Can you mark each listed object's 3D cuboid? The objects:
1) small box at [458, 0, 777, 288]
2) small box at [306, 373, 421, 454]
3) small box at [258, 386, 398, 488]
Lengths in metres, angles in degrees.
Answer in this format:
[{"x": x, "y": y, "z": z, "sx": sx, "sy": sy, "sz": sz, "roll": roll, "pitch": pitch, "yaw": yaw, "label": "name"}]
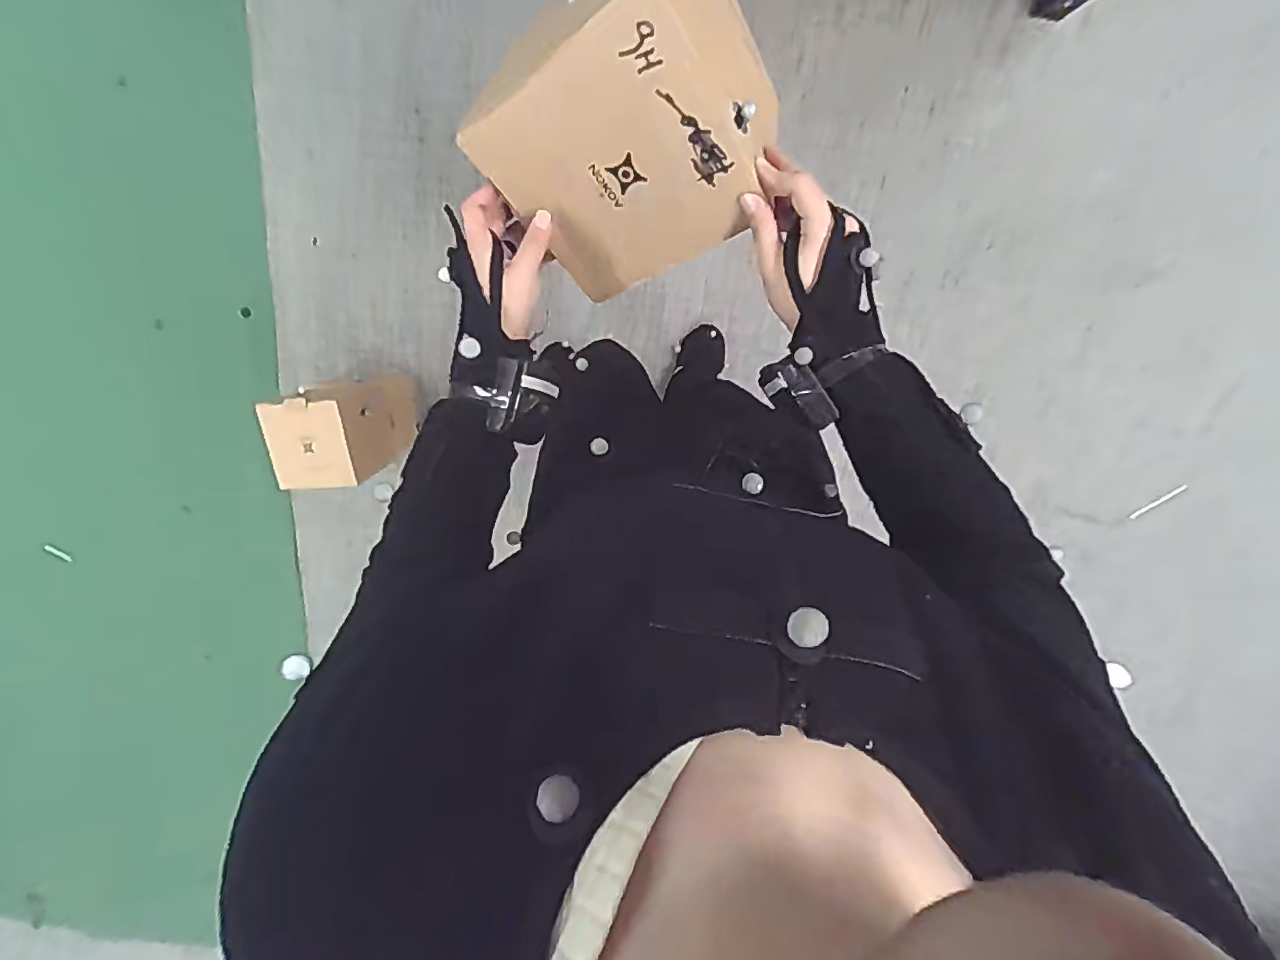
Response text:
[{"x": -0.003, "y": -0.294, "z": 0.426, "sx": 0.179, "sy": 0.176, "sz": 0.168, "roll": -12, "pitch": 143, "yaw": 33, "label": "small box"}, {"x": -0.634, "y": -0.158, "z": 1.270, "sx": 0.179, "sy": 0.176, "sz": 0.168, "roll": 0, "pitch": 110, "yaw": 4, "label": "small box"}, {"x": -0.632, "y": -0.096, "z": 1.119, "sx": 0.168, "sy": 0.176, "sz": 0.179, "roll": -3, "pitch": 110, "yaw": 5, "label": "small box"}]
